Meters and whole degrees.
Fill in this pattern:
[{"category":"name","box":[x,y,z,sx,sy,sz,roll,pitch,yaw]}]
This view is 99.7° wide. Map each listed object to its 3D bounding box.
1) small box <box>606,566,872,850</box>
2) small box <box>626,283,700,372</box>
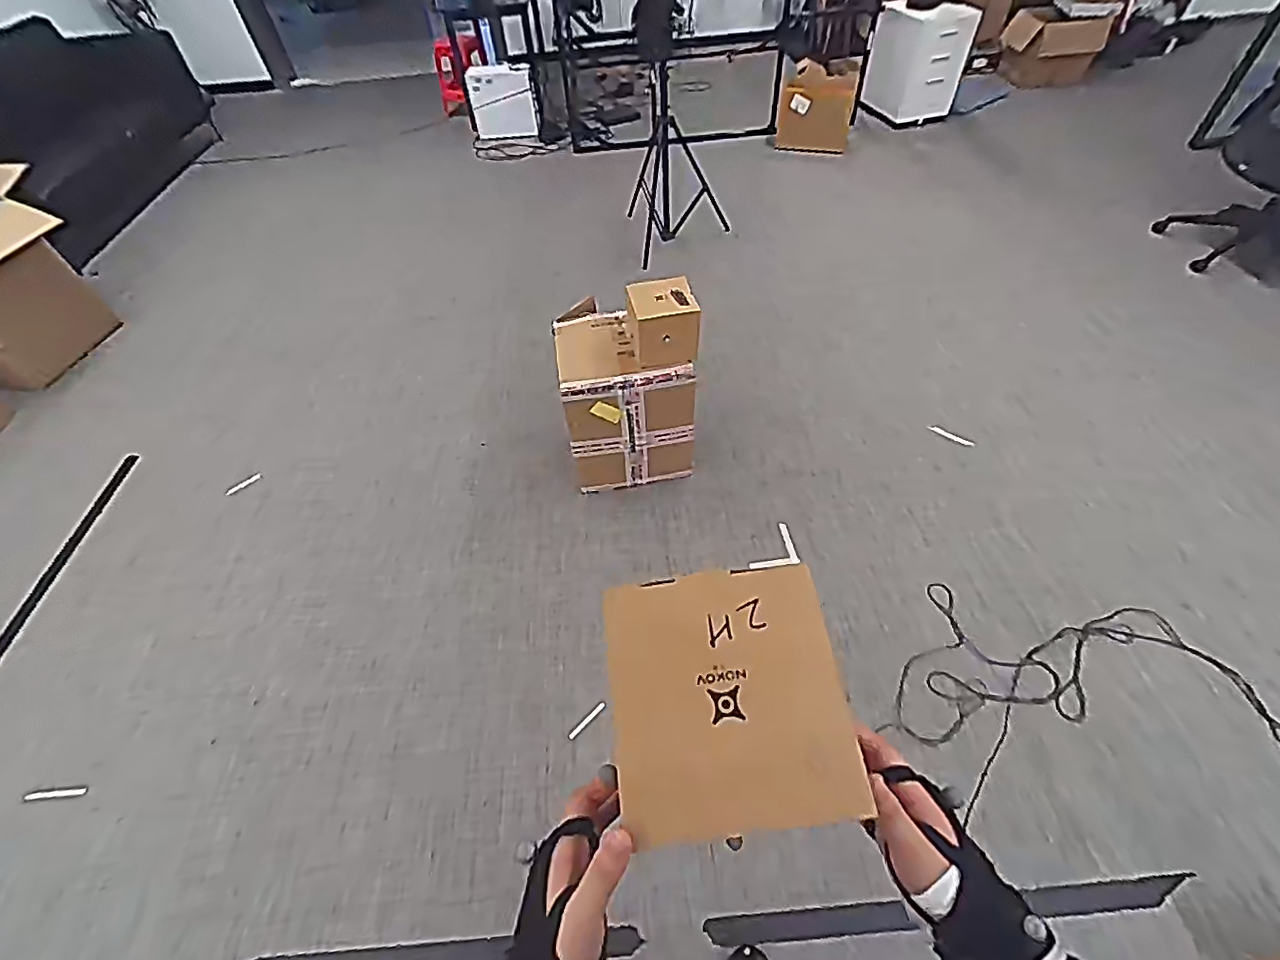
[{"category":"small box","box":[0.068,0.191,0.458,0.168,0.176,0.179,-8,60,-1]},{"category":"small box","box":[0.062,-0.433,1.548,0.179,0.176,0.168,-11,53,-6]}]
